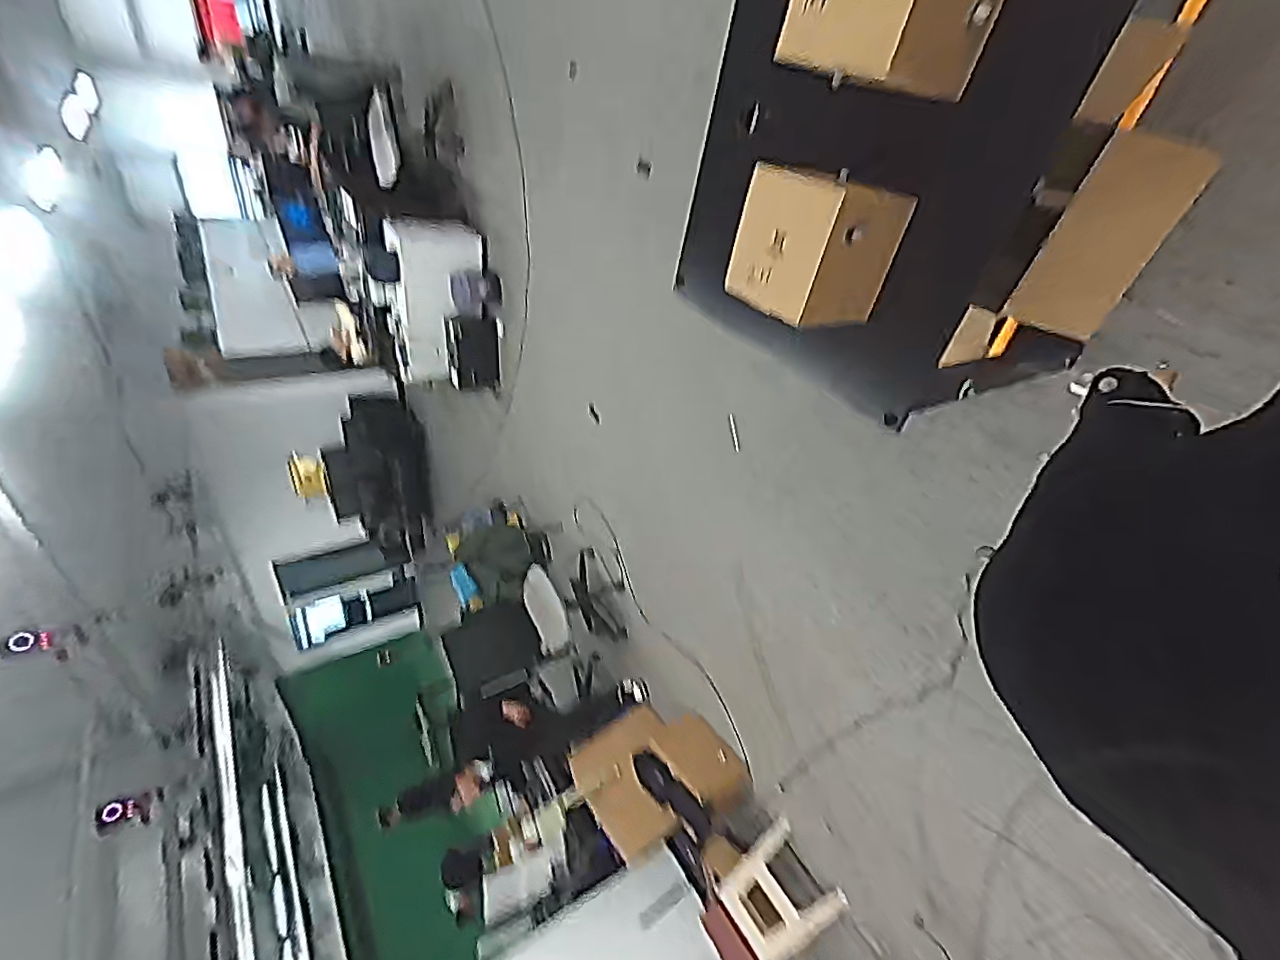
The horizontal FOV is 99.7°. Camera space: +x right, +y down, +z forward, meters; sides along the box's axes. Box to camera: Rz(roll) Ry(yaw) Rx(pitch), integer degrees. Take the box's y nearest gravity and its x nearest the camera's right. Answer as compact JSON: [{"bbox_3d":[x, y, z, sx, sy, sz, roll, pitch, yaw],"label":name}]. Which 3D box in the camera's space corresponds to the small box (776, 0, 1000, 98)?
[{"bbox_3d":[0.304,-0.579,0.650,0.179,0.176,0.168,47,138,36],"label":"small box"}]

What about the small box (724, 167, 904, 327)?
[{"bbox_3d":[0.260,-0.349,0.812,0.168,0.176,0.179,46,138,38],"label":"small box"}]
